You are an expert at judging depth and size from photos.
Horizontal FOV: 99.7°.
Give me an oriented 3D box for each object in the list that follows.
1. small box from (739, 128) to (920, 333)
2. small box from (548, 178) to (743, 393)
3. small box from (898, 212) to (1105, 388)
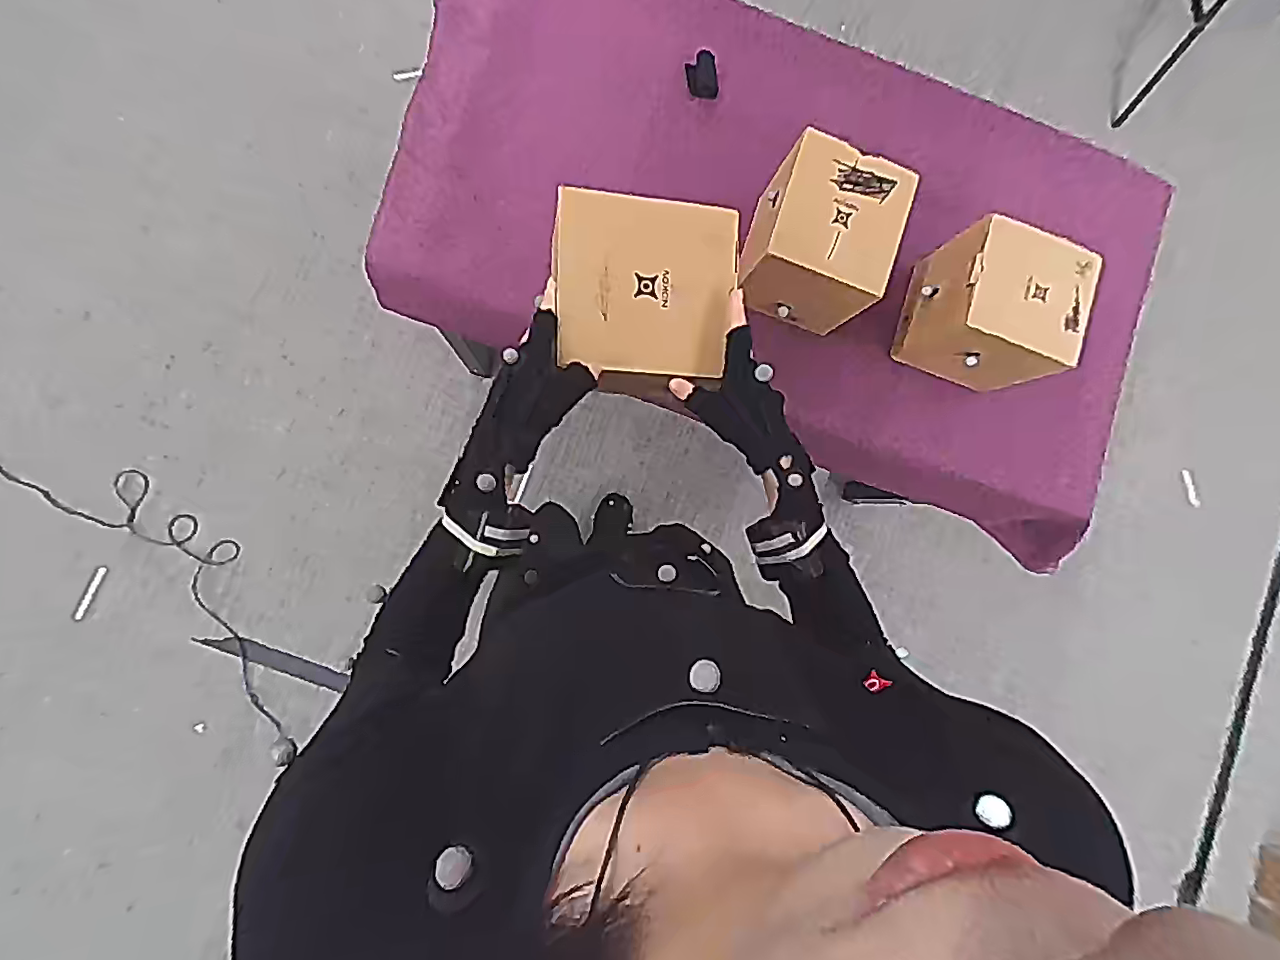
[{"bbox_3d":[0.253,-0.337,0.767,0.168,0.176,0.179,19,85,-6],"label":"small box"},{"bbox_3d":[-0.004,-0.189,0.583,0.179,0.176,0.168,1,90,-12],"label":"small box"},{"bbox_3d":[0.518,-0.250,0.799,0.179,0.176,0.168,18,85,-5],"label":"small box"}]
